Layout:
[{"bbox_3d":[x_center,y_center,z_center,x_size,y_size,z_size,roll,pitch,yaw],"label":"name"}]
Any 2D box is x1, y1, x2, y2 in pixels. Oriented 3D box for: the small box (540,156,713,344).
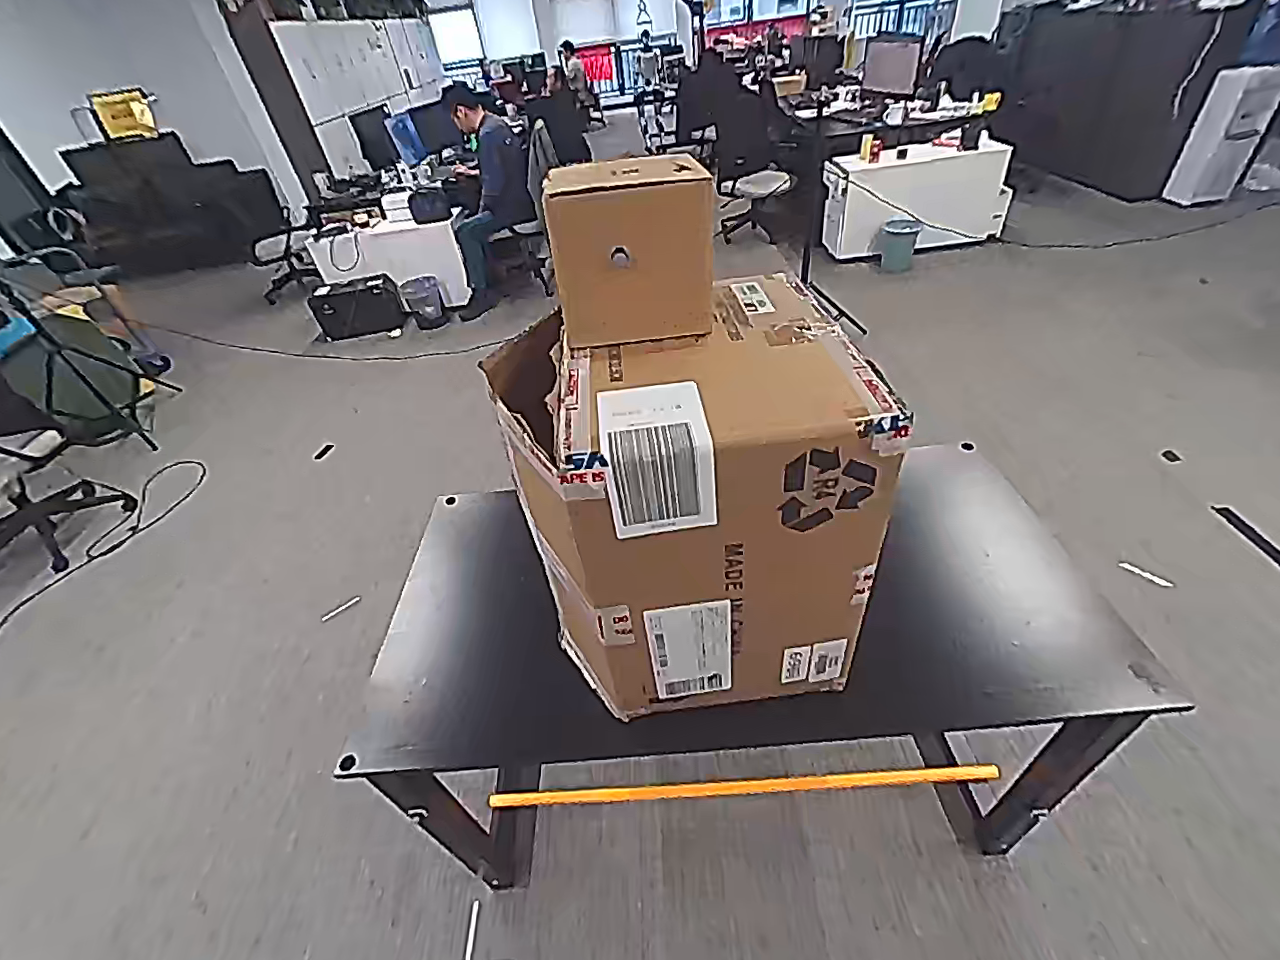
[{"bbox_3d":[-0.012,-0.276,0.654,0.179,0.176,0.168,-7,38,0],"label":"small box"}]
